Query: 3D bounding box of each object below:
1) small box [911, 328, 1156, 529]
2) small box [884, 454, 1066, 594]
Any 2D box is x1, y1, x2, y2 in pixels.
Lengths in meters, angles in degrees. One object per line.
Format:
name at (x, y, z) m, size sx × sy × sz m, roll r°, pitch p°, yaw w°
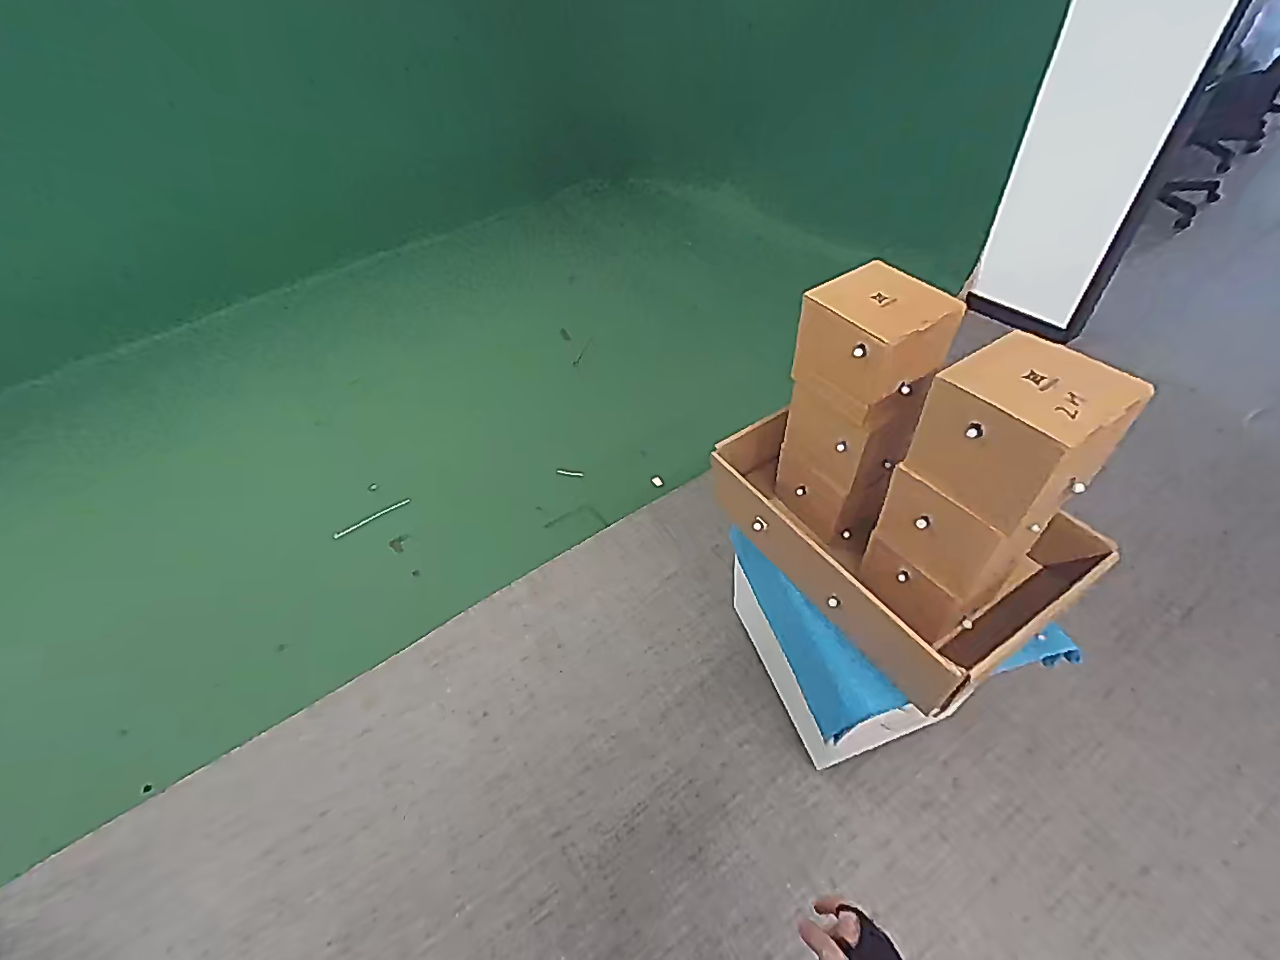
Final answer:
small box at (0.499, -0.068, 0.719) m, size 0.168 × 0.176 × 0.179 m, roll -28°, pitch 50°, yaw -15°
small box at (0.511, 0.042, 0.841) m, size 0.168 × 0.176 × 0.179 m, roll -30°, pitch 48°, yaw -16°
